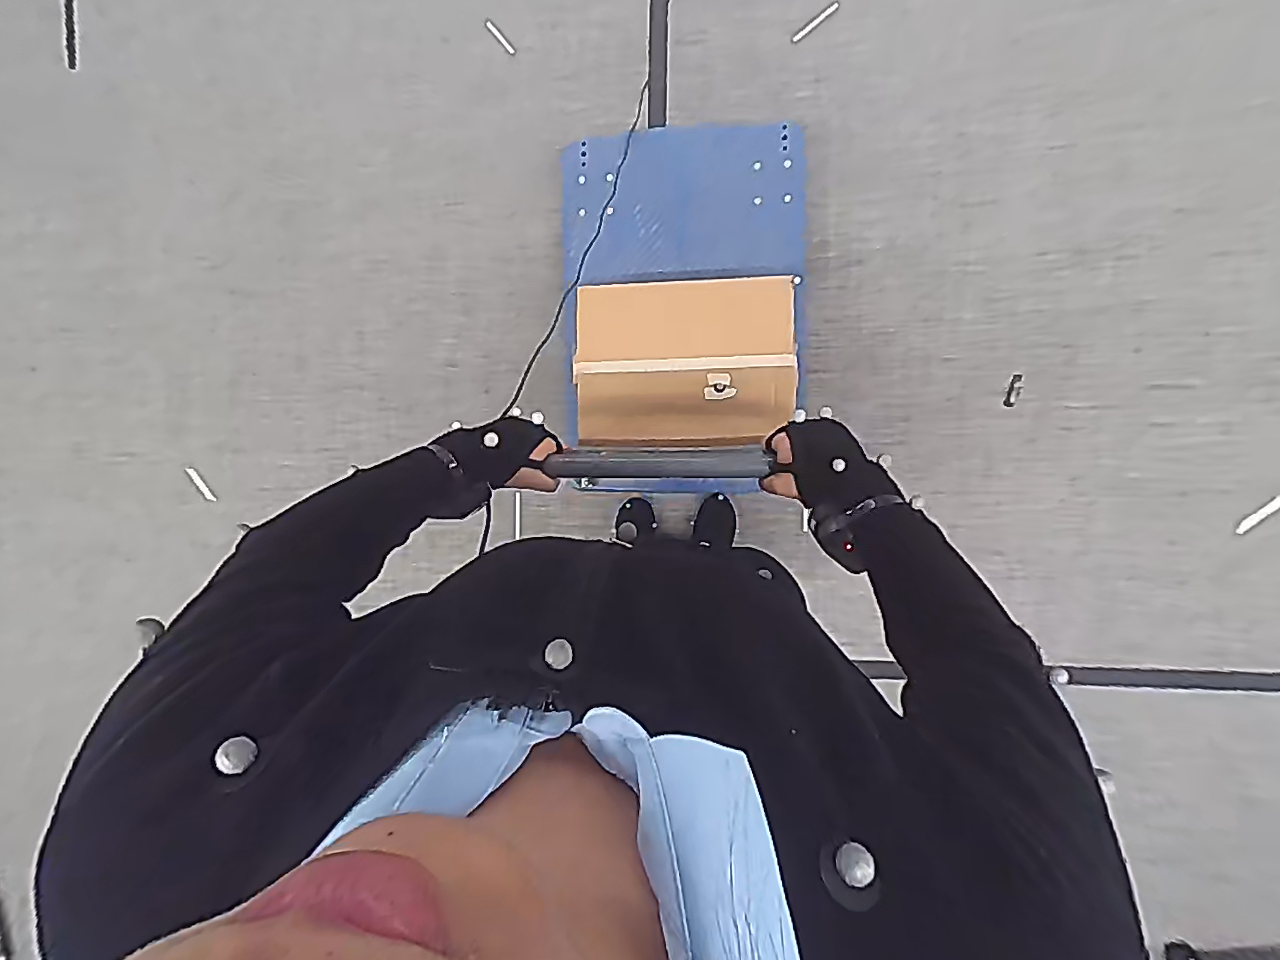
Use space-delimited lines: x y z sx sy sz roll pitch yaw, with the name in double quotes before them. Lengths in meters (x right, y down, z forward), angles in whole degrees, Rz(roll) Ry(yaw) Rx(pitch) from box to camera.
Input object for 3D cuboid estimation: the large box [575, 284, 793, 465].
"large box" 0.092 -0.198 1.149 0.408 0.320 0.320 -1 90 6
